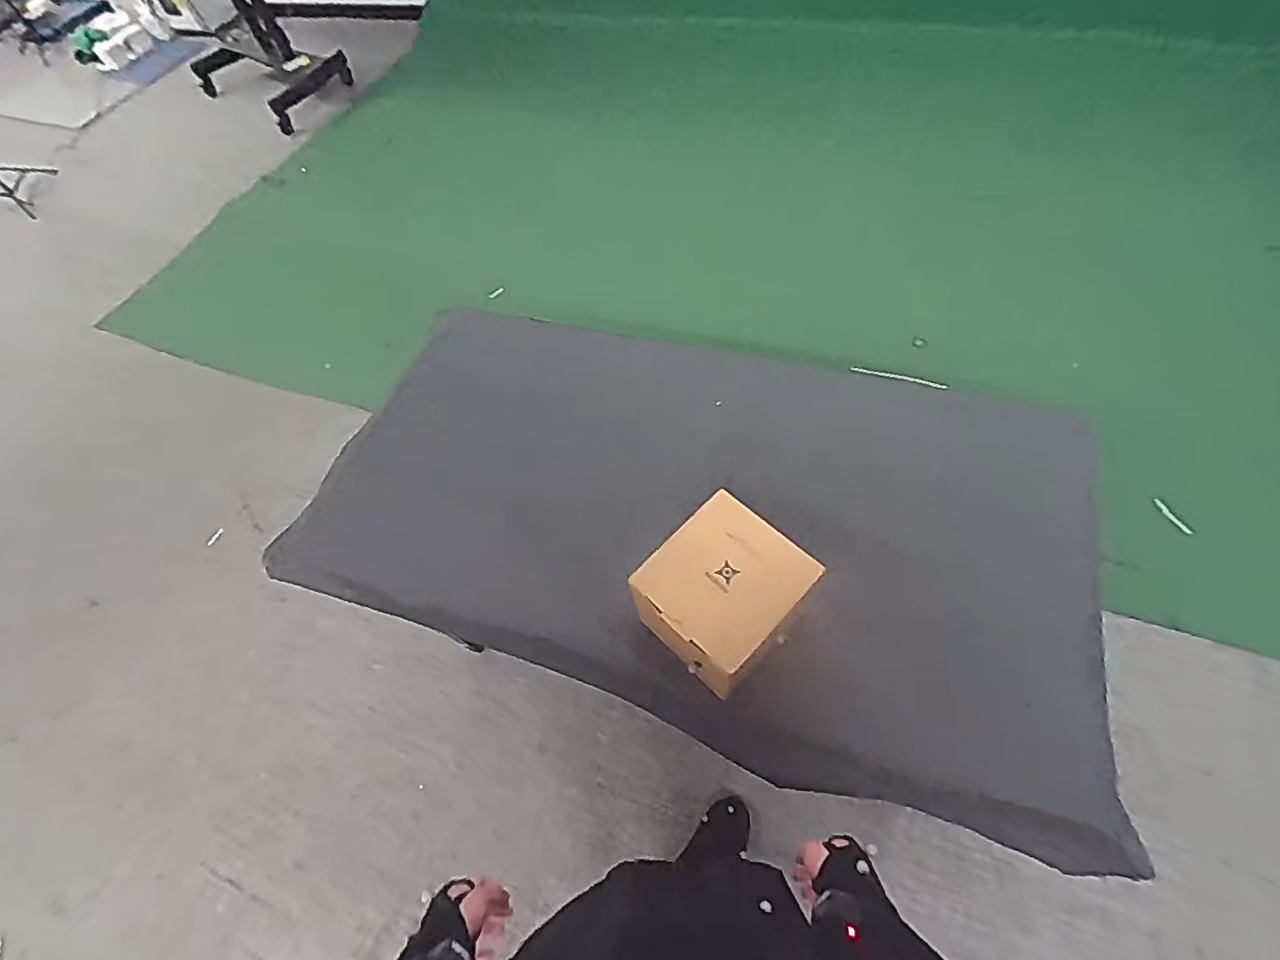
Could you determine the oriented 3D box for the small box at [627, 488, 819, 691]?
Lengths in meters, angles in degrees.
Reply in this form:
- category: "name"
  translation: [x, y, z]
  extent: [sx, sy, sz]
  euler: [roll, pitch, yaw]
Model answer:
- category: "small box"
  translation: [0.107, 0.151, 0.717]
  extent: [0.168, 0.176, 0.179]
  euler: [39, 70, 23]
